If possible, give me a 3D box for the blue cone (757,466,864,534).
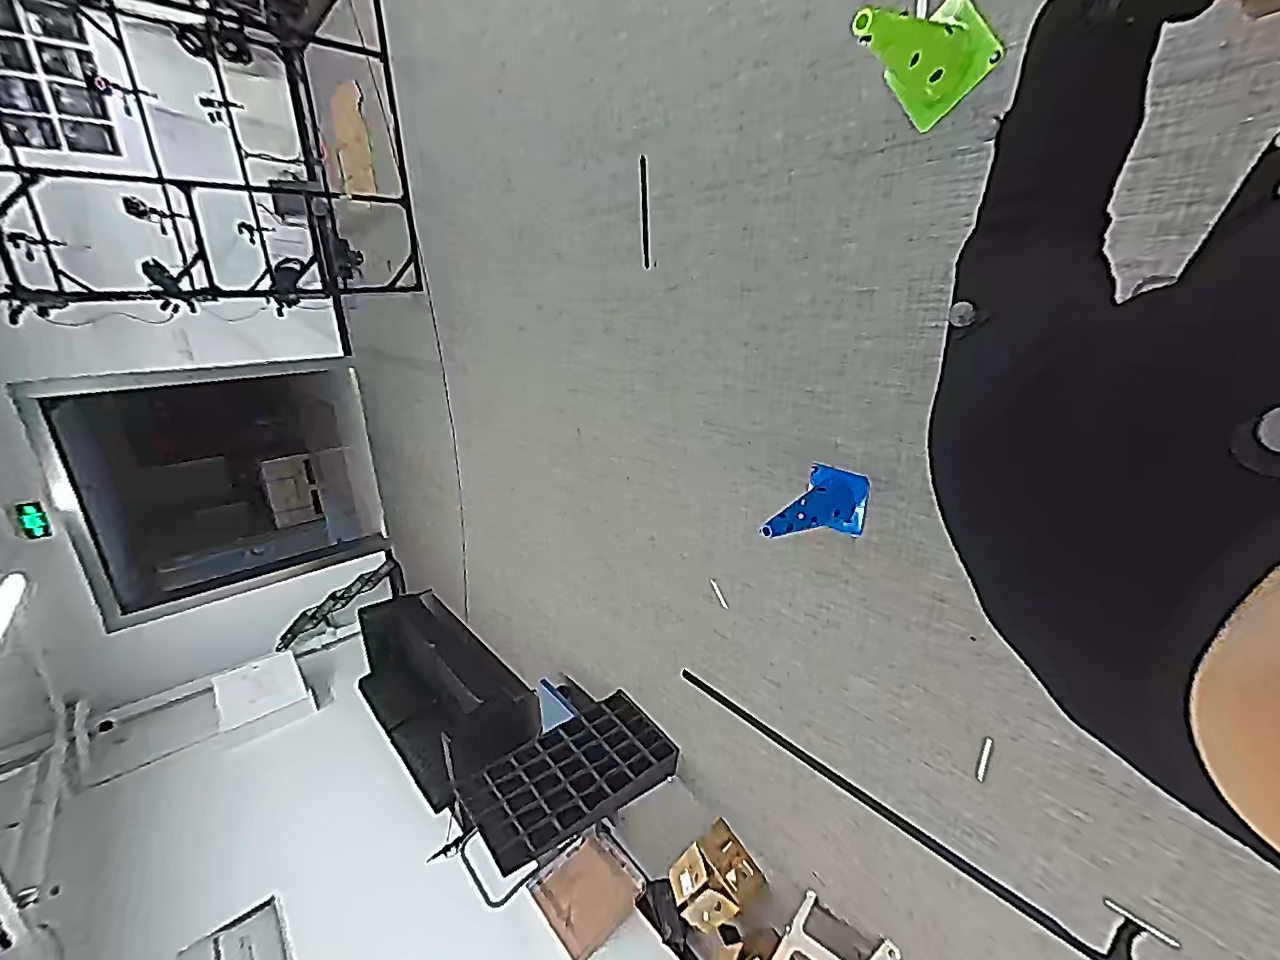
[{"bbox_3d":[0.494,0.097,1.627,0.192,0.380,0.193,25,122,46],"label":"blue cone"}]

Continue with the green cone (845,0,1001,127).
[{"bbox_3d":[0.551,-0.921,1.136,0.202,0.368,0.200,-39,72,52],"label":"green cone"}]
